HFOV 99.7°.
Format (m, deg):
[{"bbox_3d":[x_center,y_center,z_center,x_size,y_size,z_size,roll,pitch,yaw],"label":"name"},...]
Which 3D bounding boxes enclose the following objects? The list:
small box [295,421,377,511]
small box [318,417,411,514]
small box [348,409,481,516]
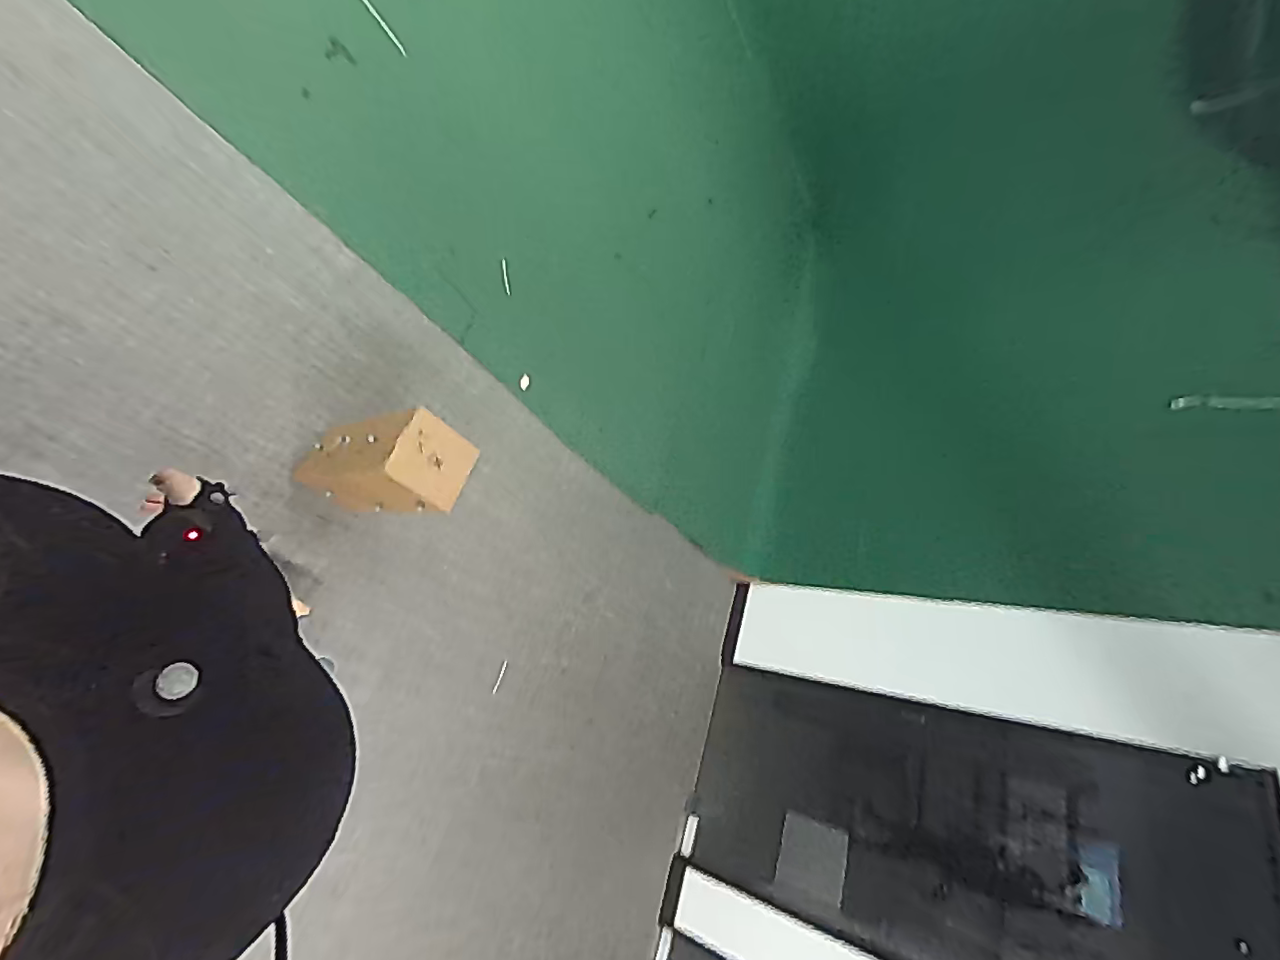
[{"bbox_3d":[-0.747,-0.029,1.403,0.179,0.176,0.168,48,54,-38],"label":"small box"},{"bbox_3d":[-0.622,-0.031,1.299,0.179,0.176,0.168,44,55,-40],"label":"small box"},{"bbox_3d":[-0.496,-0.035,1.193,0.179,0.176,0.168,45,54,-41],"label":"small box"}]
